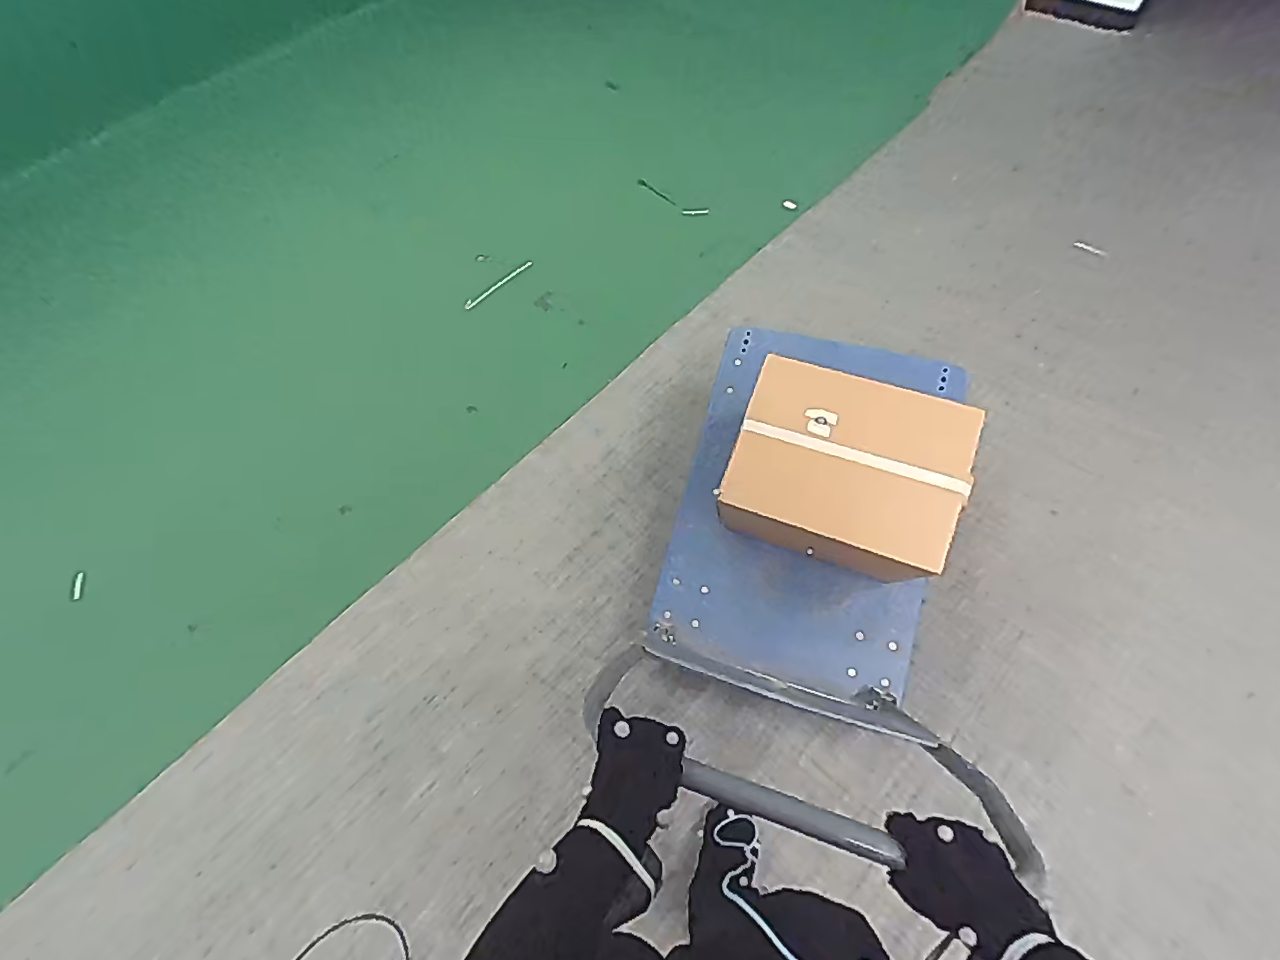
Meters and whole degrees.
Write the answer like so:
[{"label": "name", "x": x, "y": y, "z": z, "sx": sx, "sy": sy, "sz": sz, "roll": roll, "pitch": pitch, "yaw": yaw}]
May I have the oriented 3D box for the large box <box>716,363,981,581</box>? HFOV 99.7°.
[{"label": "large box", "x": 0.407, "y": -0.001, "z": 1.134, "sx": 0.408, "sy": 0.320, "sz": 0.320, "roll": 19, "pitch": 81, "yaw": 15}]
